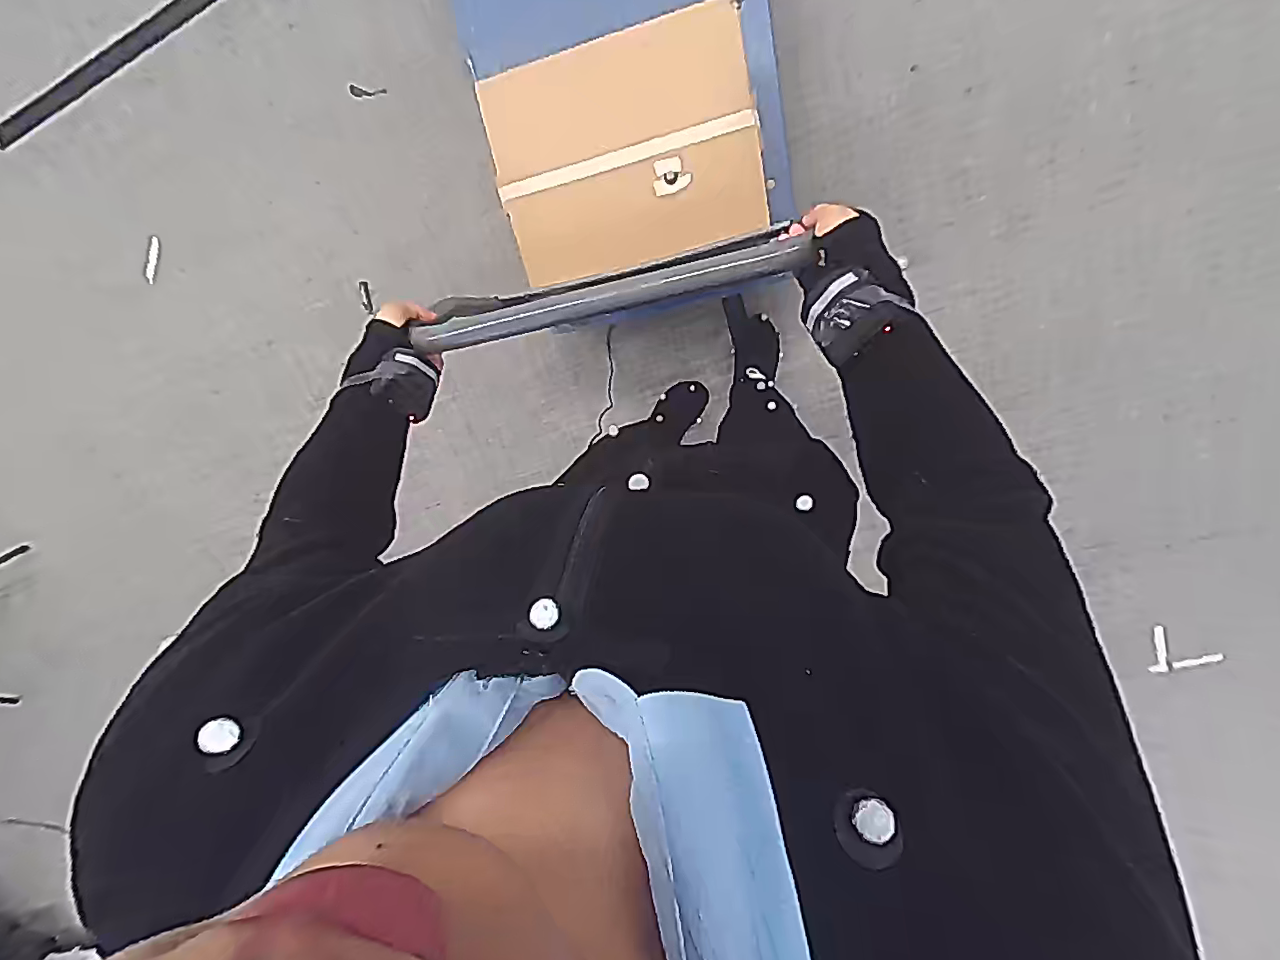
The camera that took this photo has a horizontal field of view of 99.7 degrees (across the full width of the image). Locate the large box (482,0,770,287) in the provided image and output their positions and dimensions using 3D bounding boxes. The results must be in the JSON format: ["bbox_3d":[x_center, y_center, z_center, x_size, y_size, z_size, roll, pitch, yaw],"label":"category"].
[{"bbox_3d":[-0.003,-0.557,0.976,0.408,0.320,0.320,-10,109,12],"label":"large box"}]
